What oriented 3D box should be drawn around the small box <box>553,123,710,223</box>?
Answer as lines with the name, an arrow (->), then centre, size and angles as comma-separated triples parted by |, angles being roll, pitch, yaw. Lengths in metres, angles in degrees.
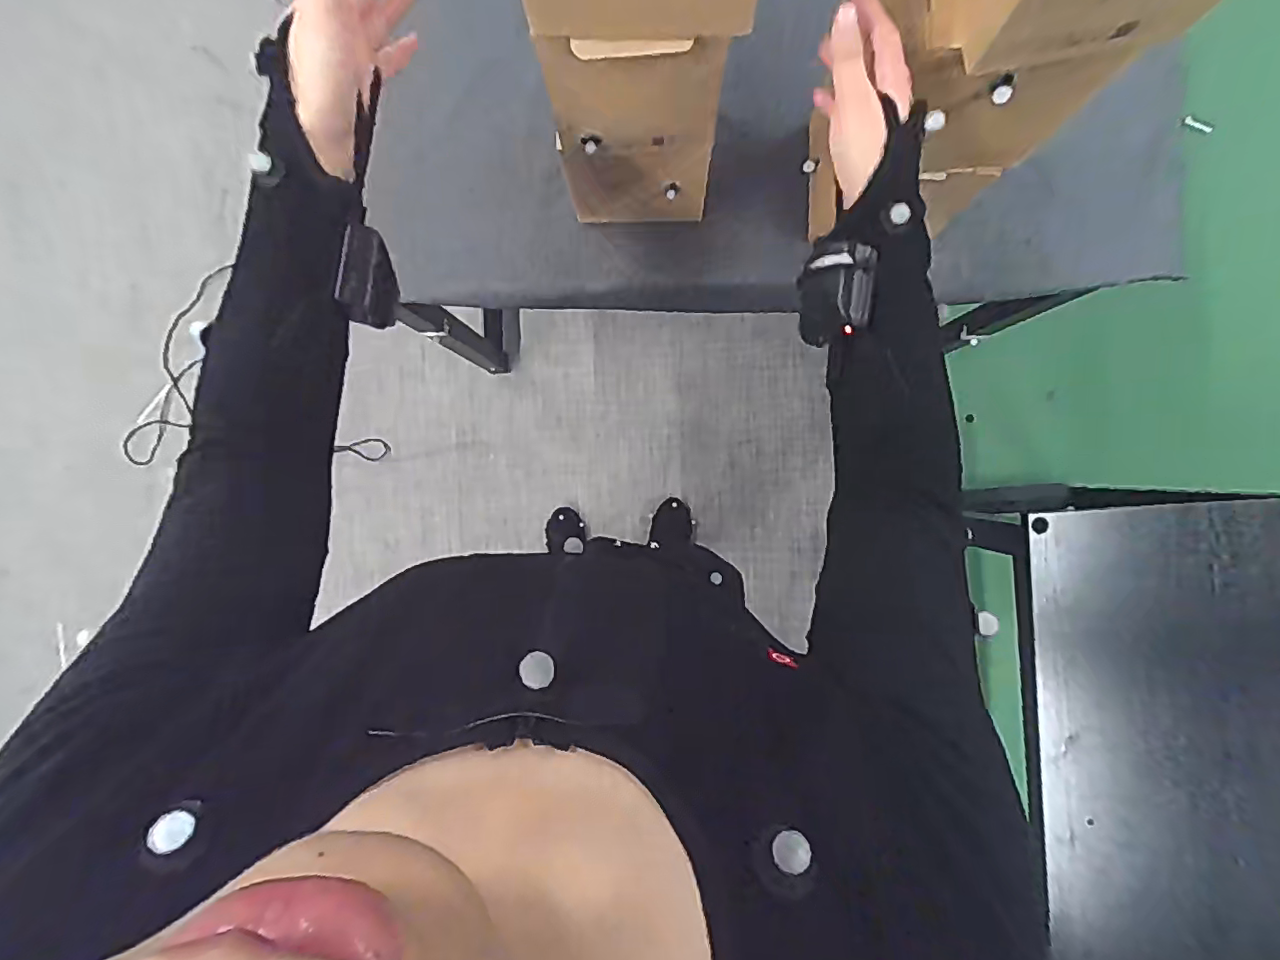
small box -> -0.006, -0.442, 0.678 | 0.179, 0.176, 0.168 | 0, 89, 4

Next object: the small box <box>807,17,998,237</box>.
small box -> 0.308, -0.414, 0.661 | 0.168, 0.176, 0.179 | 1, 90, 3

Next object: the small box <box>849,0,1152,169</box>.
small box -> 0.309, -0.416, 0.498 | 0.179, 0.176, 0.168 | -2, 89, 3

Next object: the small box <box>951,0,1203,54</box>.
small box -> 0.309, -0.409, 0.332 | 0.168, 0.176, 0.179 | -10, 89, 3

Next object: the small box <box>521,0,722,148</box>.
small box -> -0.014, -0.445, 0.514 | 0.168, 0.176, 0.179 | -3, 88, 2
